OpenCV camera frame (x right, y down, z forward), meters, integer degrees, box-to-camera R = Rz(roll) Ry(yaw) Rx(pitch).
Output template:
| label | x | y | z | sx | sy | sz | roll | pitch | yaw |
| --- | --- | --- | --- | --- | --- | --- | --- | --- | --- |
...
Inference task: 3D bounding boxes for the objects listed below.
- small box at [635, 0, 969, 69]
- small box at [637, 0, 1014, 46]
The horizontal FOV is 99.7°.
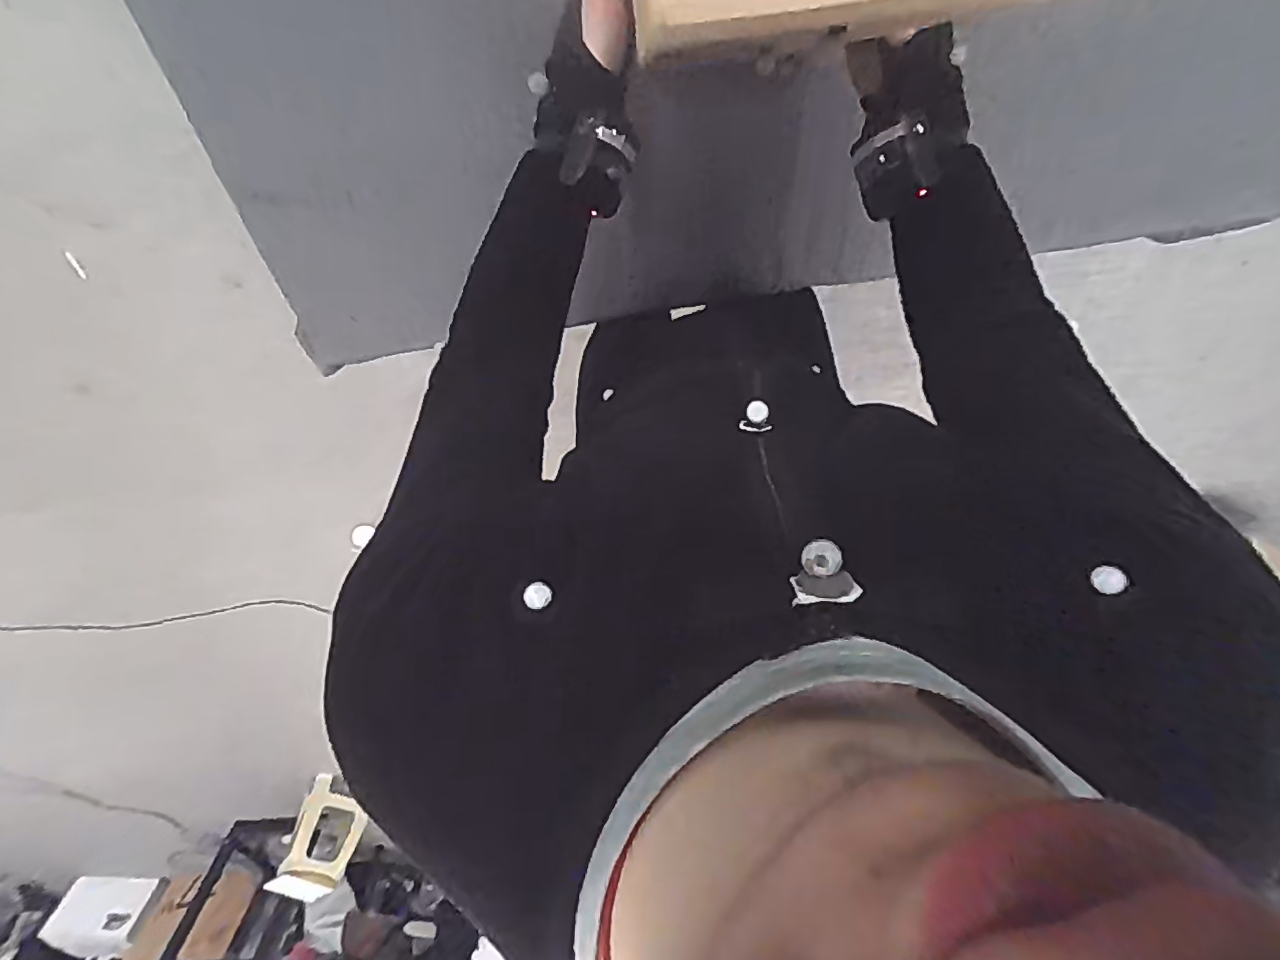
| label | x | y | z | sx | sy | sz | roll | pitch | yaw |
| --- | --- | --- | --- | --- | --- | --- | --- | --- | --- |
| small box | 0.080 | -0.343 | 0.301 | 0.179 | 0.176 | 0.168 | -5 | 125 | 3 |
| small box | 0.082 | -0.251 | 0.166 | 0.179 | 0.176 | 0.168 | -5 | 125 | 3 |
